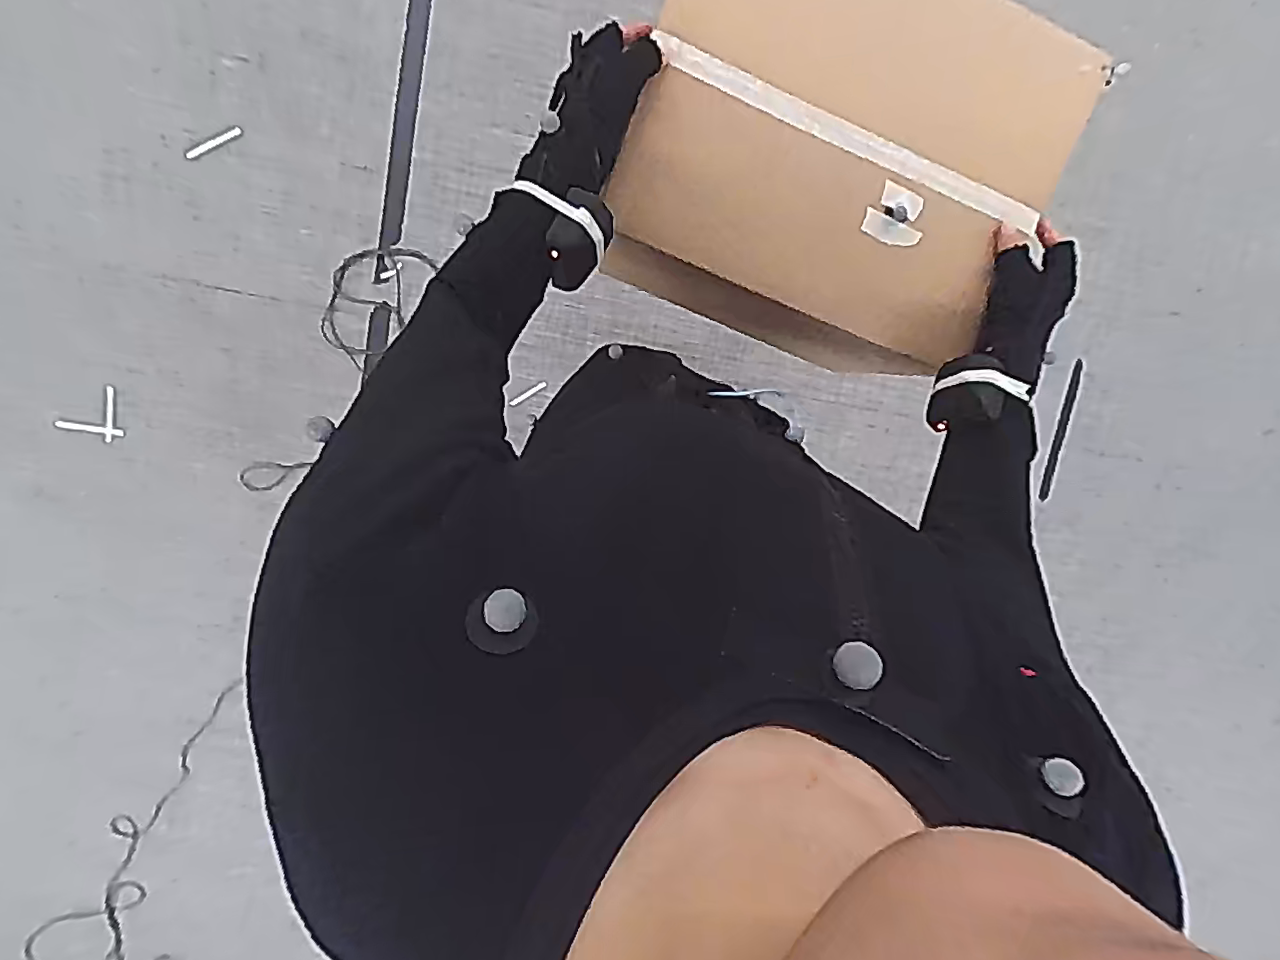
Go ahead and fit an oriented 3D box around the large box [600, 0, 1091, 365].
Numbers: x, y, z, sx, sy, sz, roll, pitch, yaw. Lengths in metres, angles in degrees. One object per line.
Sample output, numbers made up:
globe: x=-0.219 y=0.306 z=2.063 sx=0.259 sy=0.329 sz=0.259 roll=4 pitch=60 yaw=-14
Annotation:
large box: x=0.185 y=-0.358 z=0.662 sx=0.408 sy=0.320 sz=0.320 roll=20 pitch=102 yaw=-8
